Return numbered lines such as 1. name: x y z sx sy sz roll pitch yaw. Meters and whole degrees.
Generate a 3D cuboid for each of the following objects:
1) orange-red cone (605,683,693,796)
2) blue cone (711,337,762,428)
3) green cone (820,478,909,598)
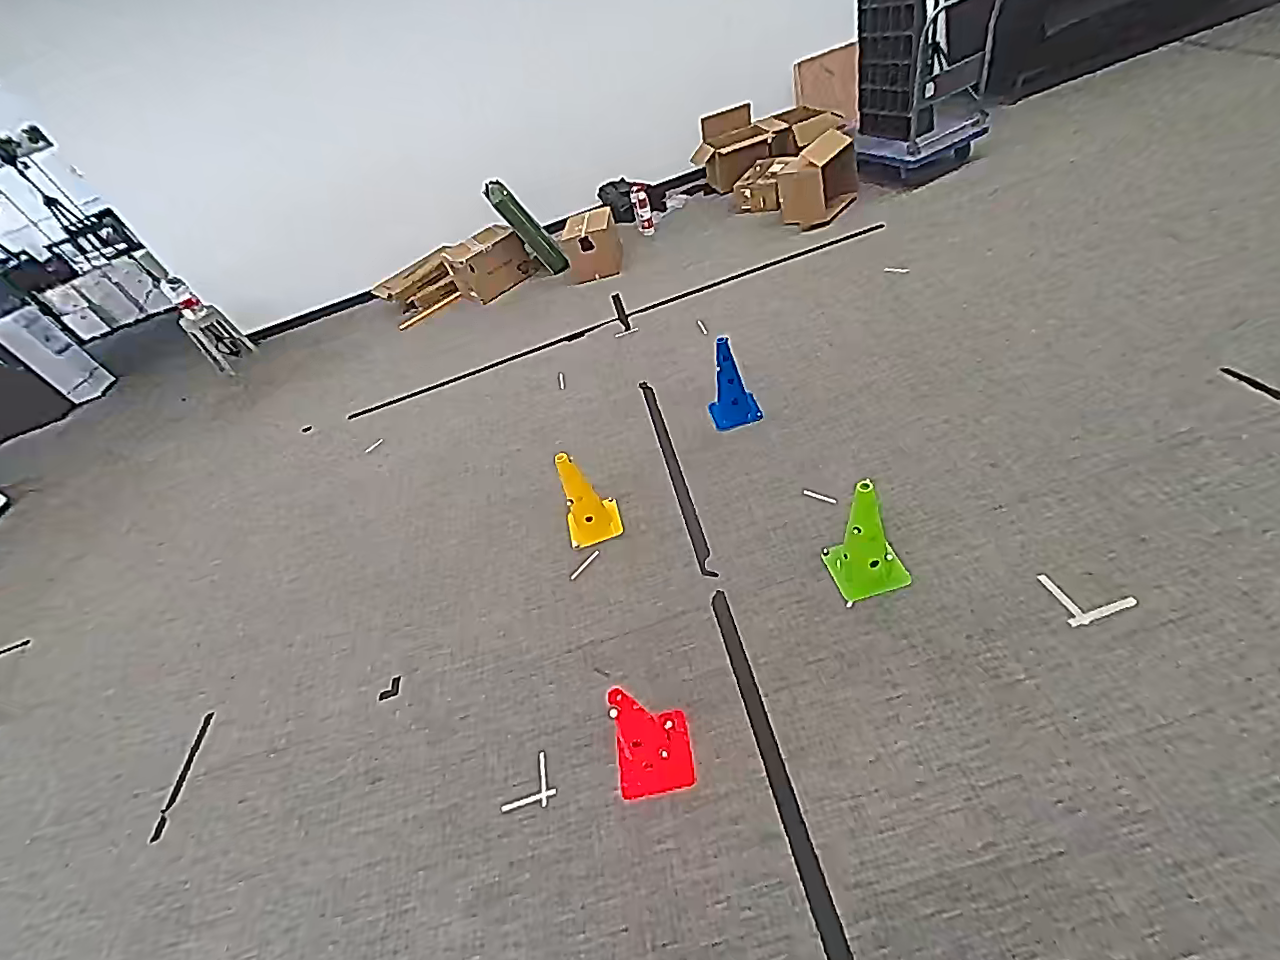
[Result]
1. orange-red cone: -0.014 0.591 1.307 0.199 0.360 0.198 -16 41 7
2. blue cone: 0.368 -0.411 2.206 0.192 0.380 0.193 -15 43 5
3. green cone: 0.628 0.136 1.514 0.202 0.368 0.200 -18 42 2
